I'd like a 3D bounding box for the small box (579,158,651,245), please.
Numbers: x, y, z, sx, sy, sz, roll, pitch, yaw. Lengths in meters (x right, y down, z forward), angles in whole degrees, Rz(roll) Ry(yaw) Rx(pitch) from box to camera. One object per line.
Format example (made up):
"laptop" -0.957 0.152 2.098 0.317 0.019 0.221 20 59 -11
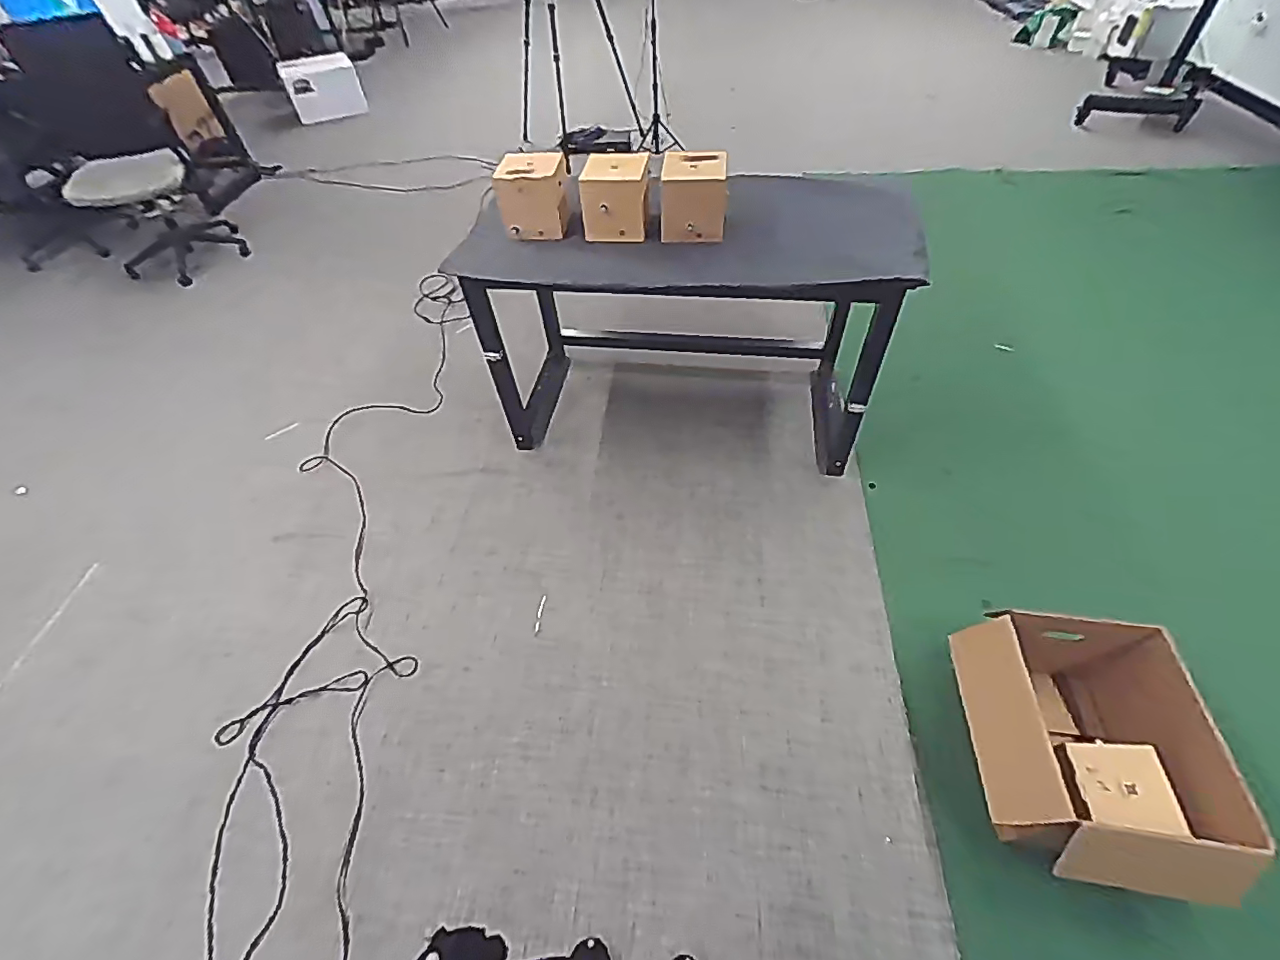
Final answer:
"small box" -0.062 -0.771 1.501 0.168 0.176 0.179 4 50 7

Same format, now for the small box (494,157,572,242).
"small box" -0.295 -0.792 1.533 0.168 0.176 0.179 1 49 5
